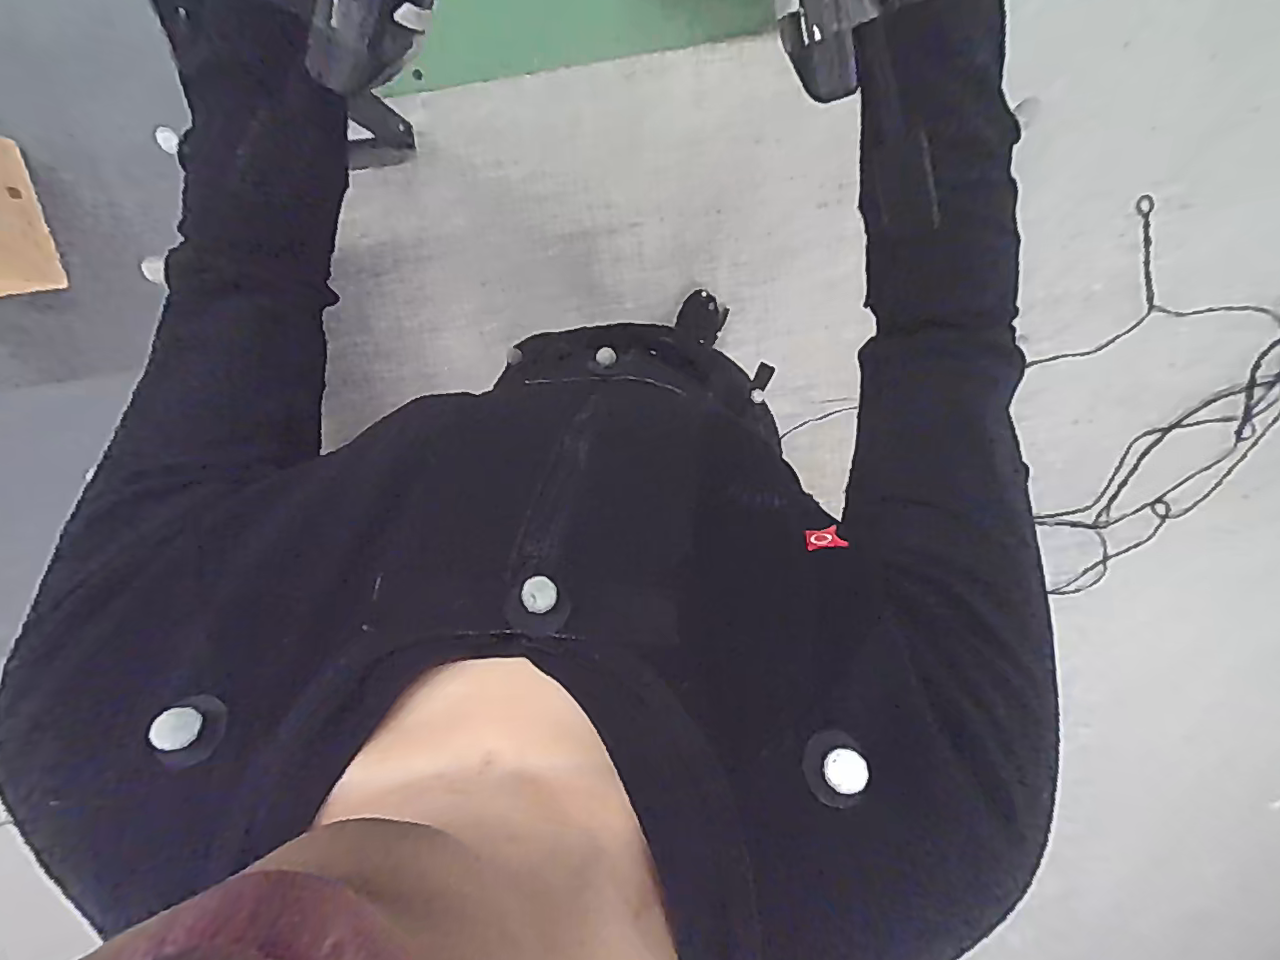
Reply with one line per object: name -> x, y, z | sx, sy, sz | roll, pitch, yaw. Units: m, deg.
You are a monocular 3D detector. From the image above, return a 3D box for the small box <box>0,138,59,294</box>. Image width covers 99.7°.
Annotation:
small box -> -0.808, -0.294, 0.589 | 0.179, 0.176, 0.168 | -5, 106, 4
